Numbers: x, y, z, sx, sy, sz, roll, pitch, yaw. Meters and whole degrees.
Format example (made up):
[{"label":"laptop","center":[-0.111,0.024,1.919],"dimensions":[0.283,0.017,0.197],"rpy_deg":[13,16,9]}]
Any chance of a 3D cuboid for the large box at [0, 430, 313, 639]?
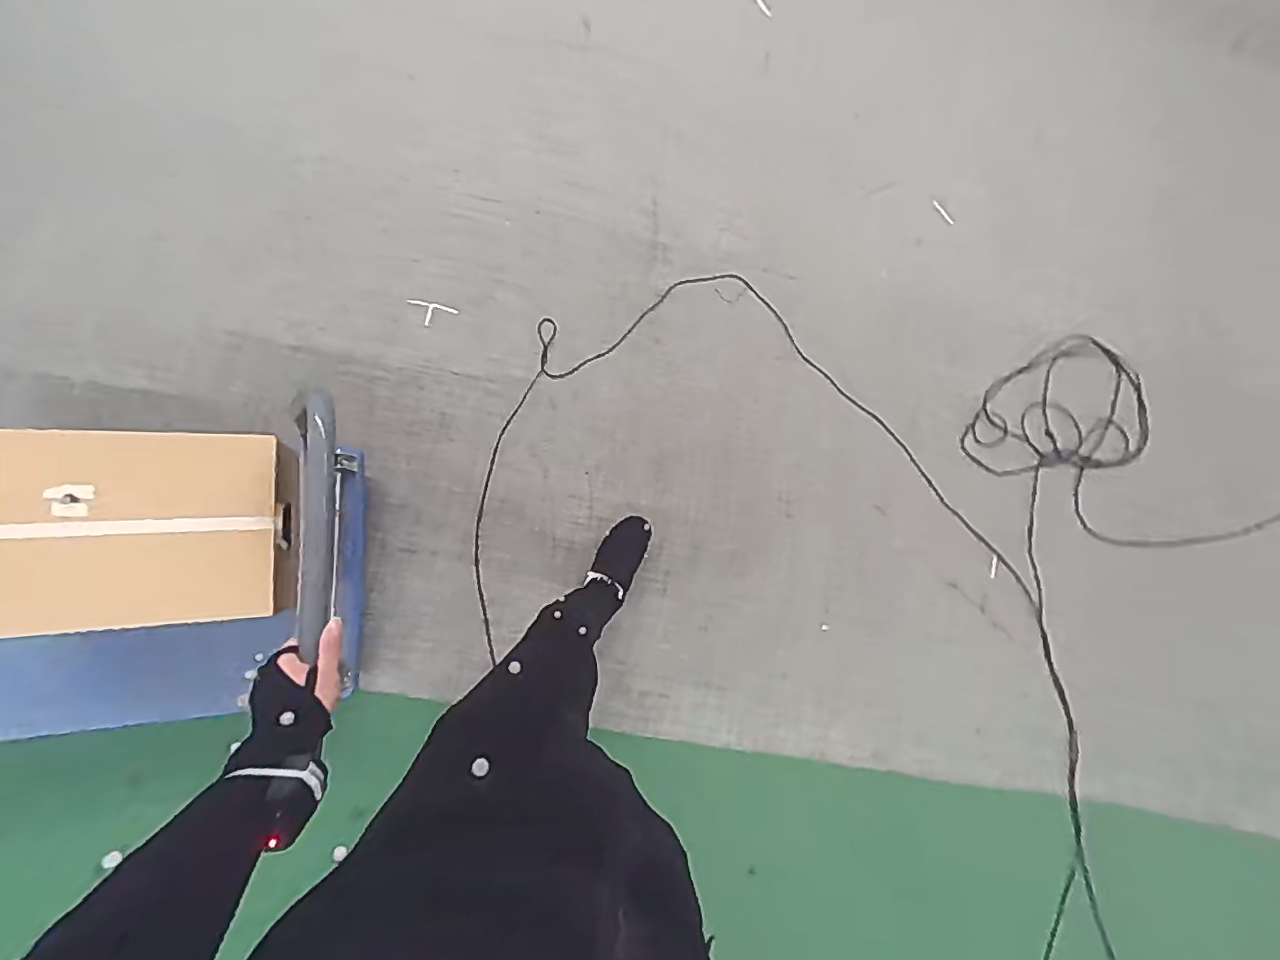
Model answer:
[{"label":"large box","center":[-0.858,0.090,0.991],"dimensions":[0.408,0.320,0.320],"rpy_deg":[0,83,-22]}]
